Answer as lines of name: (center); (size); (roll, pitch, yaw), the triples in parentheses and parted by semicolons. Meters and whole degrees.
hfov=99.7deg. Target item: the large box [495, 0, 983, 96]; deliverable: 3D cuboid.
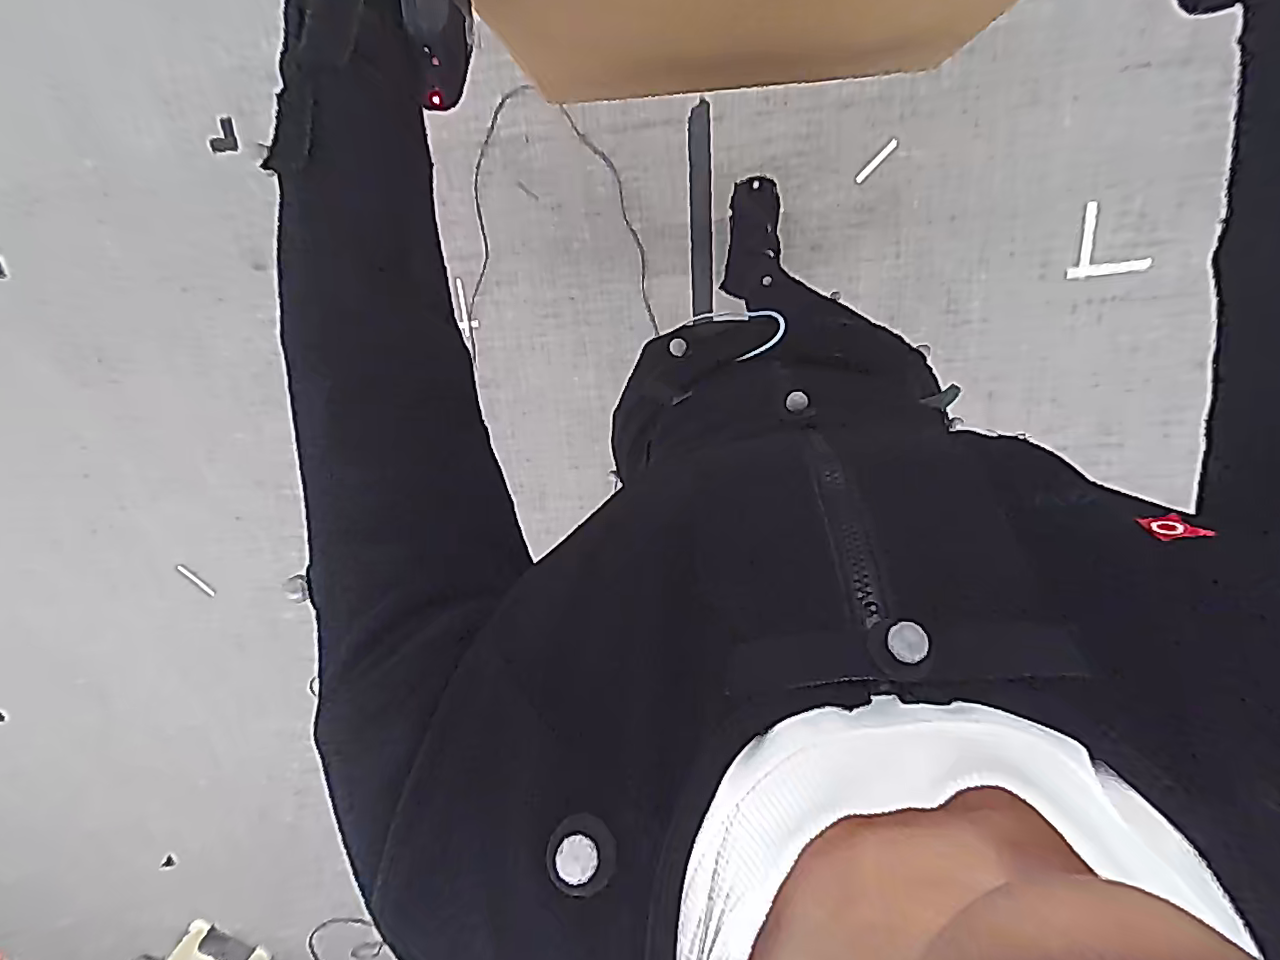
large box: (0.080, -0.515, 0.377); (0.408, 0.320, 0.320); (-3, 111, 4)
